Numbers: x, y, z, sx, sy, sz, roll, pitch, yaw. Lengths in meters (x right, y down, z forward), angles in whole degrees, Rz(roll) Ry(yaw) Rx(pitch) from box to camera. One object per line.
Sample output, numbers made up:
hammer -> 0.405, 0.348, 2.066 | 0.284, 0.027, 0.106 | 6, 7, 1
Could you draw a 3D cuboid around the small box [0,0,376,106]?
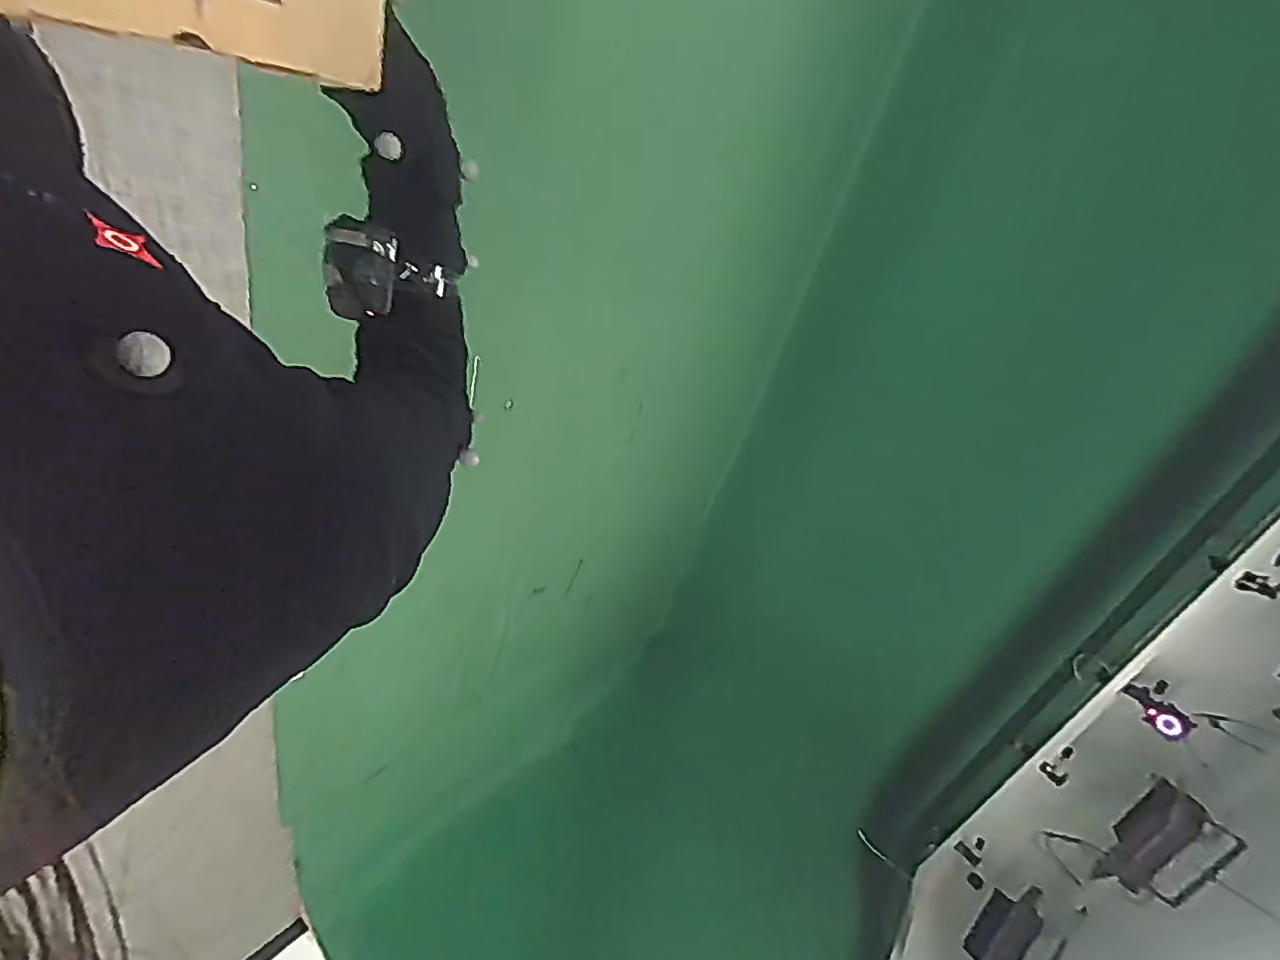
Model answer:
small box -> -0.225, -0.306, 0.228 | 0.168, 0.176, 0.179 | -19, 149, -42
